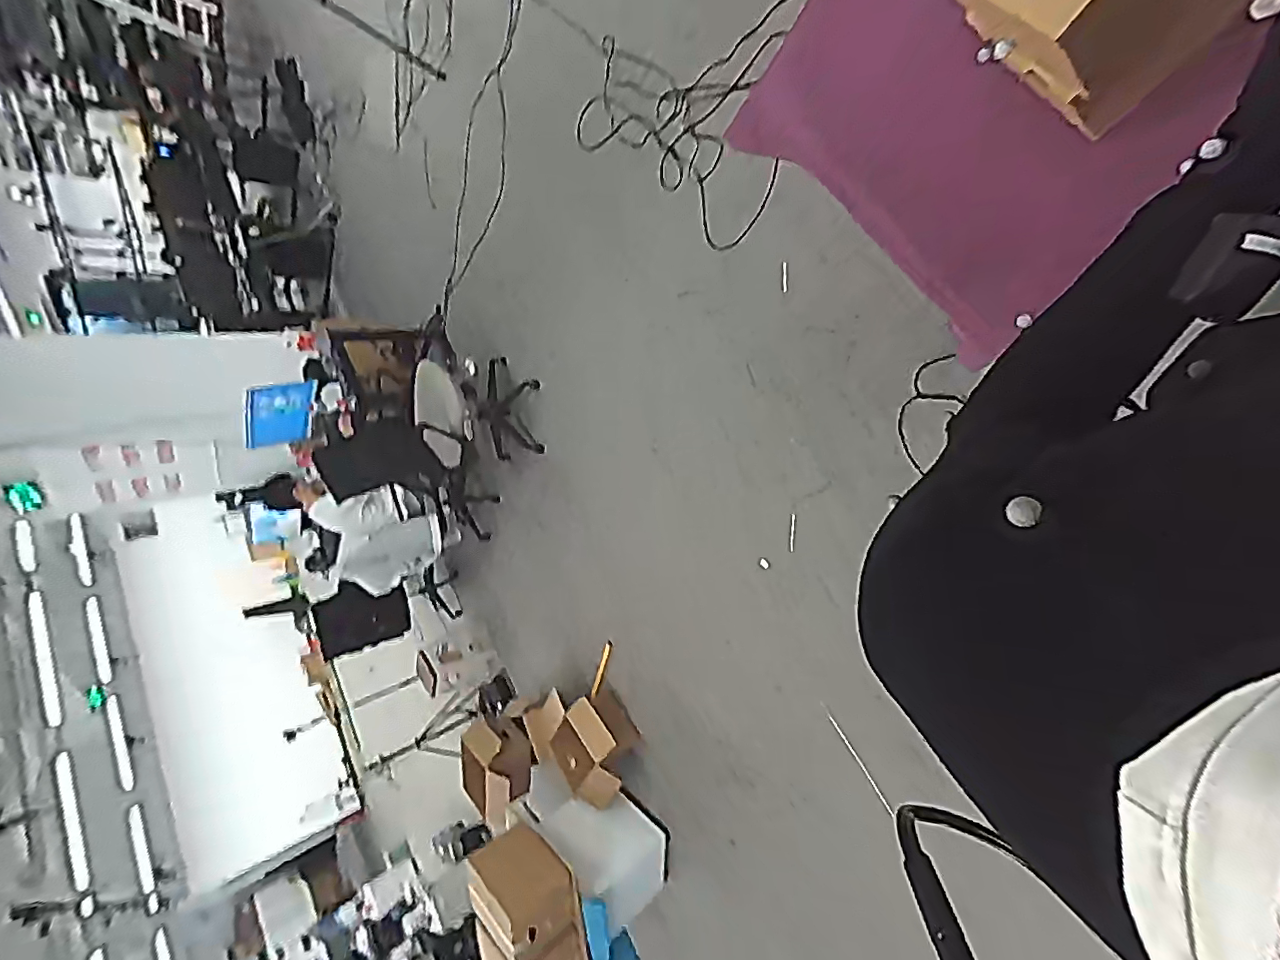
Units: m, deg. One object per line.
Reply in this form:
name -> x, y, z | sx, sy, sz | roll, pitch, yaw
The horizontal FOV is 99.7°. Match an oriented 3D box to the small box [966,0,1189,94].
small box -> 0.396, -0.481, 0.460 | 0.168, 0.176, 0.179 | 57, 135, 20
